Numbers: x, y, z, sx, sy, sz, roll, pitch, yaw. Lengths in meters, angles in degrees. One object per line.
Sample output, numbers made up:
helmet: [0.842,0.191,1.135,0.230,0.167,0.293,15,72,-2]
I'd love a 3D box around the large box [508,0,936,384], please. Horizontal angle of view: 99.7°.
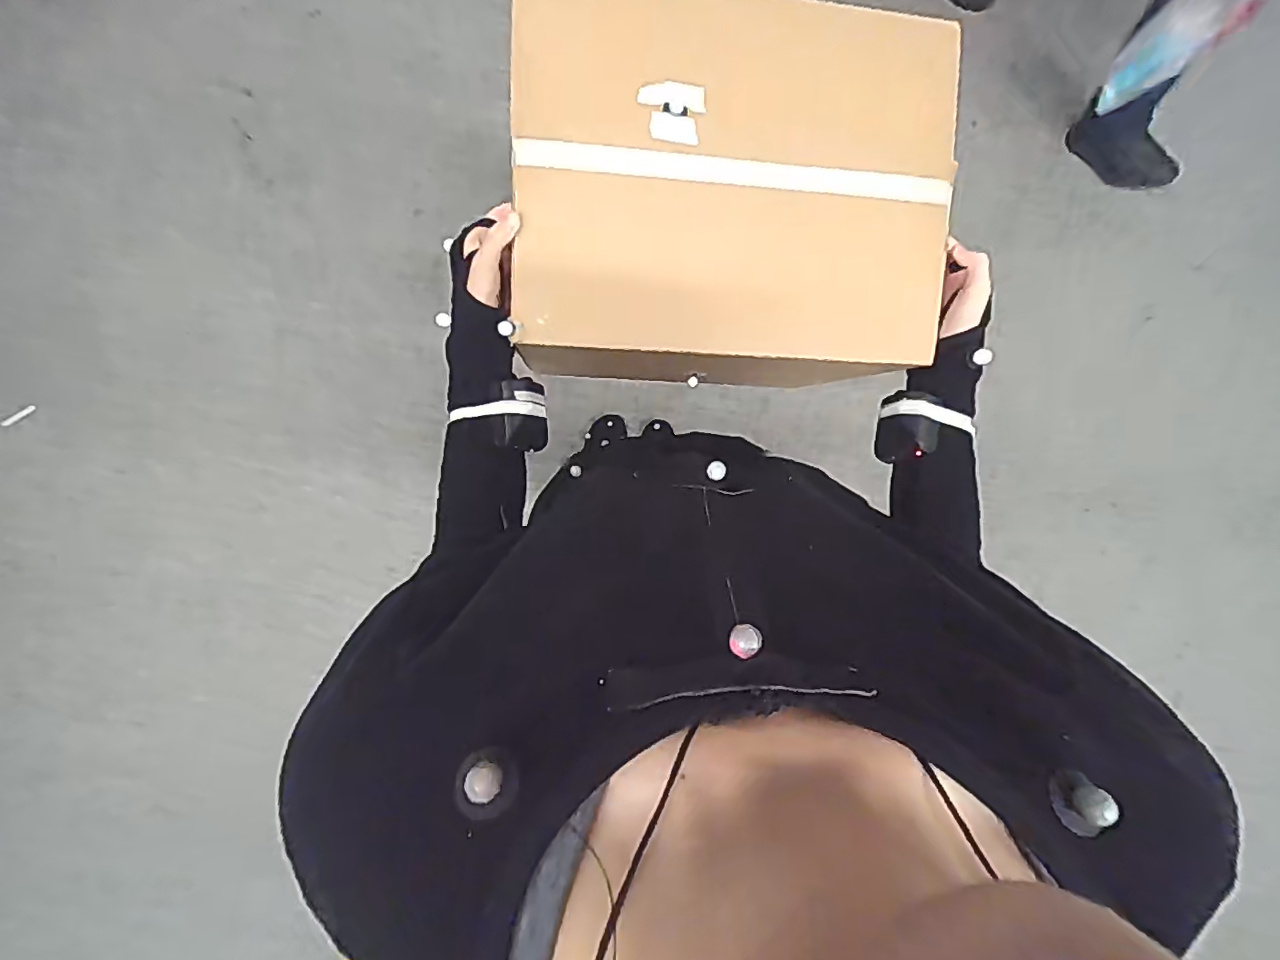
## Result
large box: [0.065,-0.282,0.649,0.408,0.320,0.320,1,95,-7]
